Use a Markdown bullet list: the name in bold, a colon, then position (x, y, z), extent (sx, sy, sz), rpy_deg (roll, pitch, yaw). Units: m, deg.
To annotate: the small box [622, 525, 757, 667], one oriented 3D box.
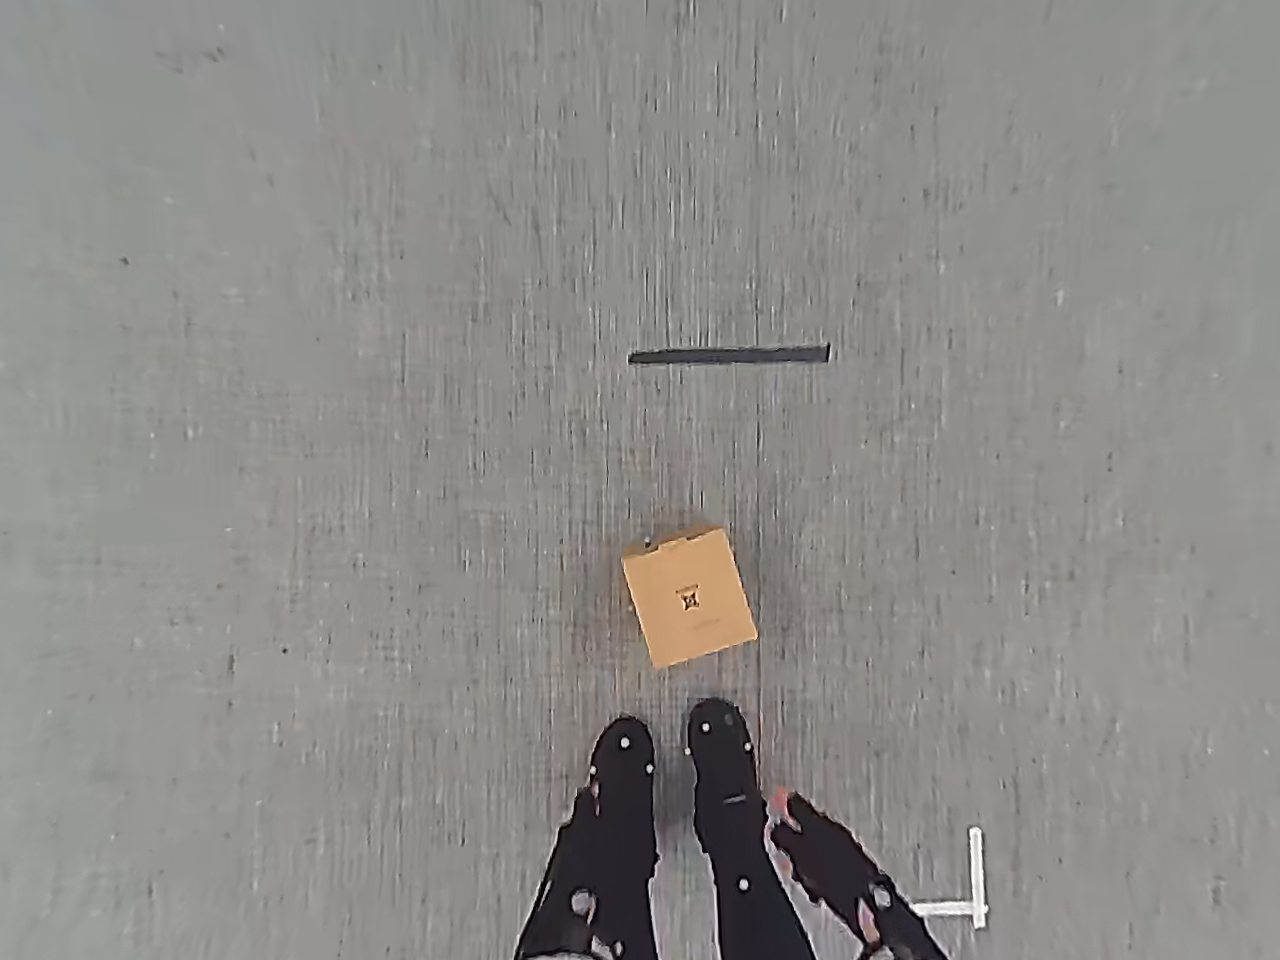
- **small box**: position (0.074, 0.179, 0.893), extent (0.168, 0.176, 0.179), rpy_deg (-18, 88, 1)
